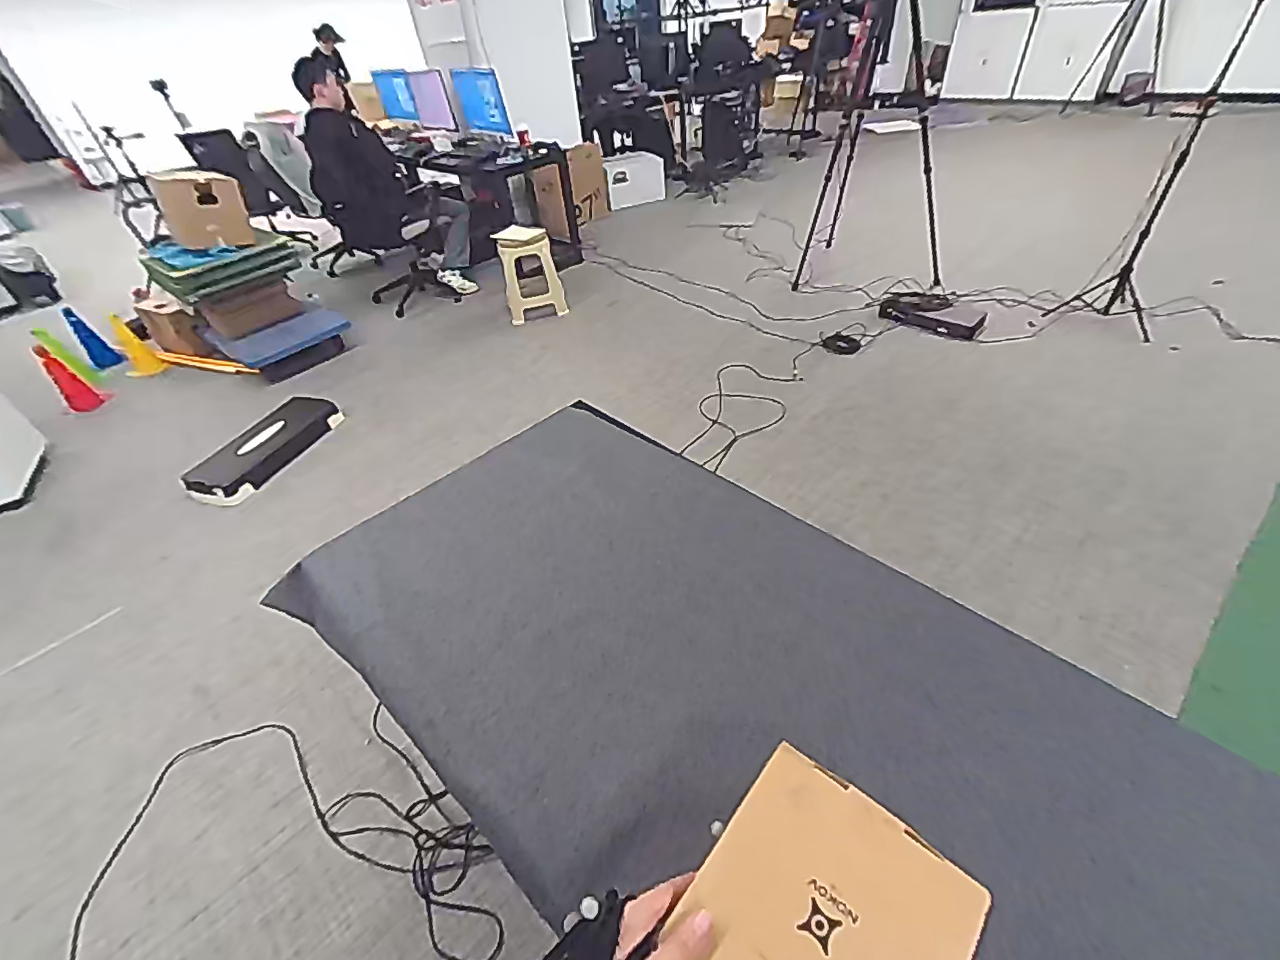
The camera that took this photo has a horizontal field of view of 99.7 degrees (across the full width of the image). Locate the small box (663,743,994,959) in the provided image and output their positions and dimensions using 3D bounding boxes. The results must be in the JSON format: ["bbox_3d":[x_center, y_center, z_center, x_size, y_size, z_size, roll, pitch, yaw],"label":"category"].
[{"bbox_3d":[0.138,0.357,0.429,0.168,0.176,0.179,27,57,31],"label":"small box"}]
